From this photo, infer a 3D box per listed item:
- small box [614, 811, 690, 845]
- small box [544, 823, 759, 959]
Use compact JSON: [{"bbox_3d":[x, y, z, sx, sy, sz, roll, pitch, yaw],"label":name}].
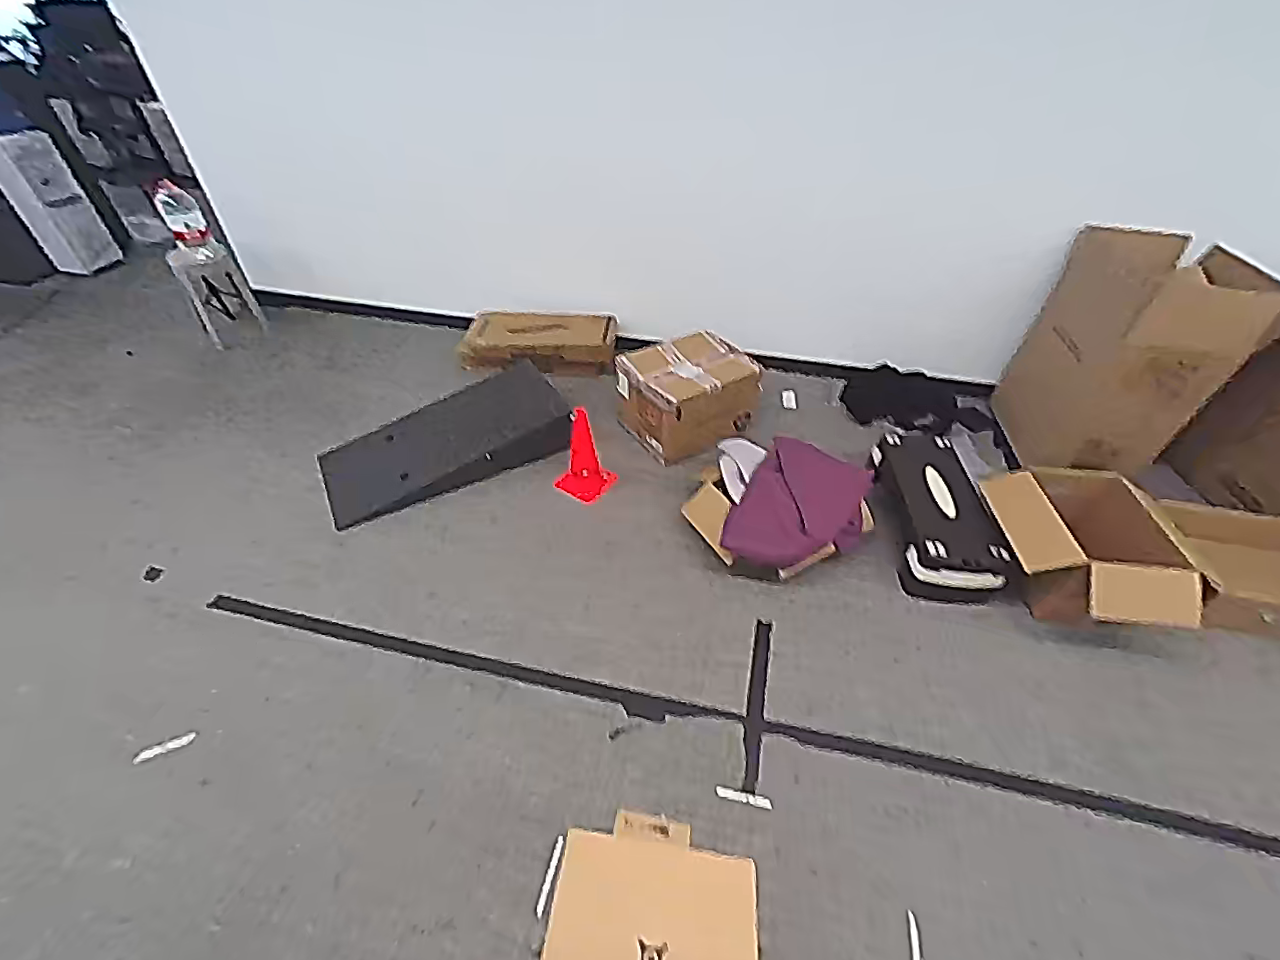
[{"bbox_3d":[0.013,0.858,1.172,0.168,0.176,0.179,9,44,9],"label":"small box"},{"bbox_3d":[0.003,0.433,0.456,0.168,0.176,0.179,8,37,5],"label":"small box"}]
